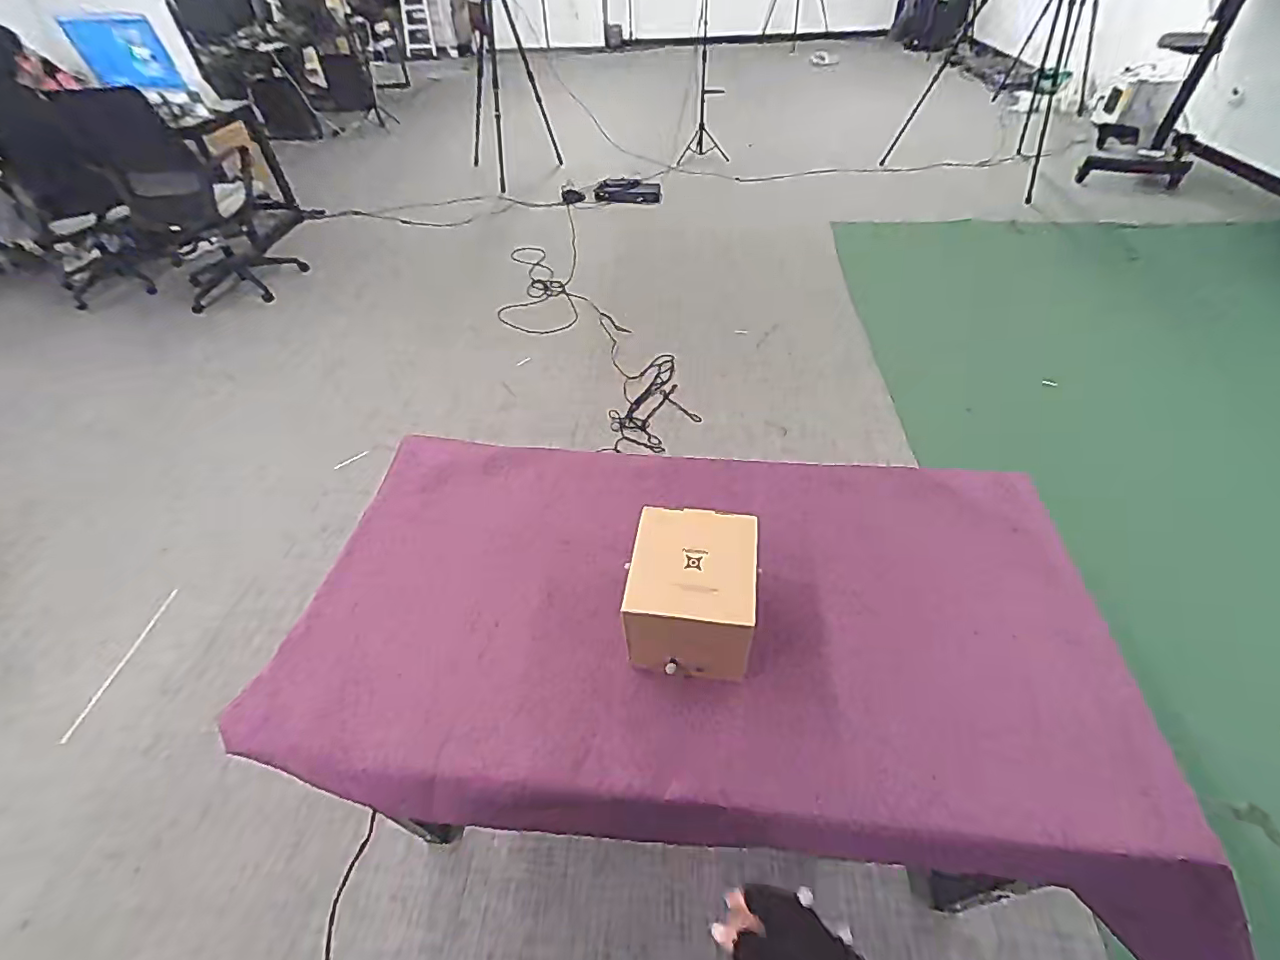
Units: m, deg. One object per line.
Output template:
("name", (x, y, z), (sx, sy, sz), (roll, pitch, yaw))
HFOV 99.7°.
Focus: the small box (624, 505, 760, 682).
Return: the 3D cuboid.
("small box", (0.077, 0.162, 0.775), (0.168, 0.176, 0.179), (5, 47, 9))
